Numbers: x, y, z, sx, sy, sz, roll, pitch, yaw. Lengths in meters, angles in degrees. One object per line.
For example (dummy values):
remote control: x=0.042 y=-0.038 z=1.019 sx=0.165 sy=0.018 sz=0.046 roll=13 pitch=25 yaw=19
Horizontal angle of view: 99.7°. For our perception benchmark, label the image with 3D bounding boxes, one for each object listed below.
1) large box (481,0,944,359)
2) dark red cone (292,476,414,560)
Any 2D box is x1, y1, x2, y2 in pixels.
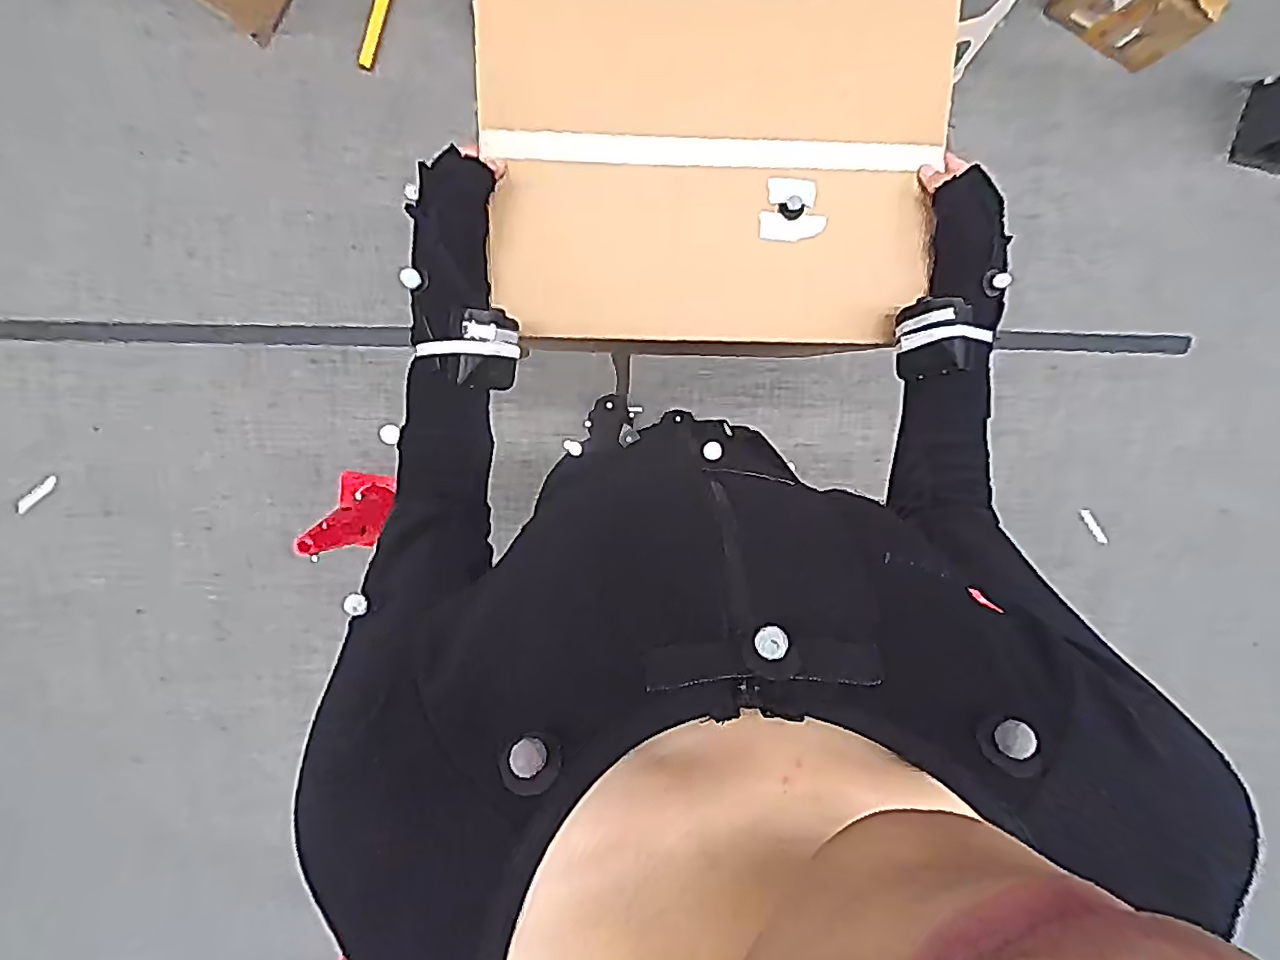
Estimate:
large box: x=0.055 y=-0.307 z=0.625 sx=0.408 sy=0.320 sz=0.320 roll=0 pitch=101 yaw=-4
dark red cone: x=-0.686 y=0.116 z=1.259 sx=0.201 sy=0.394 sz=0.202 roll=6 pitch=98 yaw=-5
